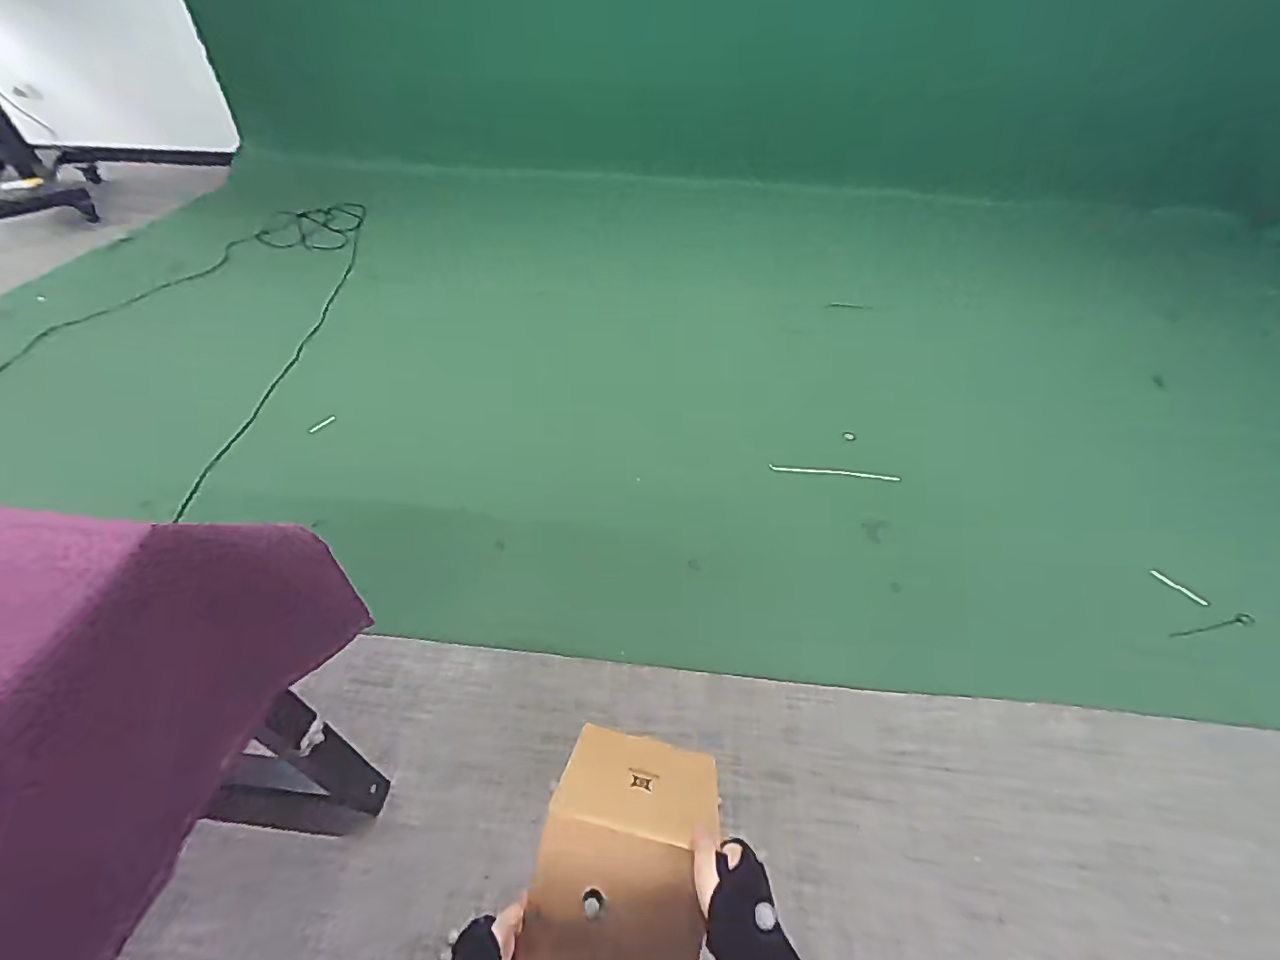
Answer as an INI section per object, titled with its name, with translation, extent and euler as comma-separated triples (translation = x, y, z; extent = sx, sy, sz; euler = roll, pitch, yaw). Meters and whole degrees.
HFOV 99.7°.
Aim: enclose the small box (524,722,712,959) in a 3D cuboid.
[small box]
translation = -0.018, 0.403, 0.594
extent = 0.168, 0.179, 0.176
euler = 12, 91, 5
